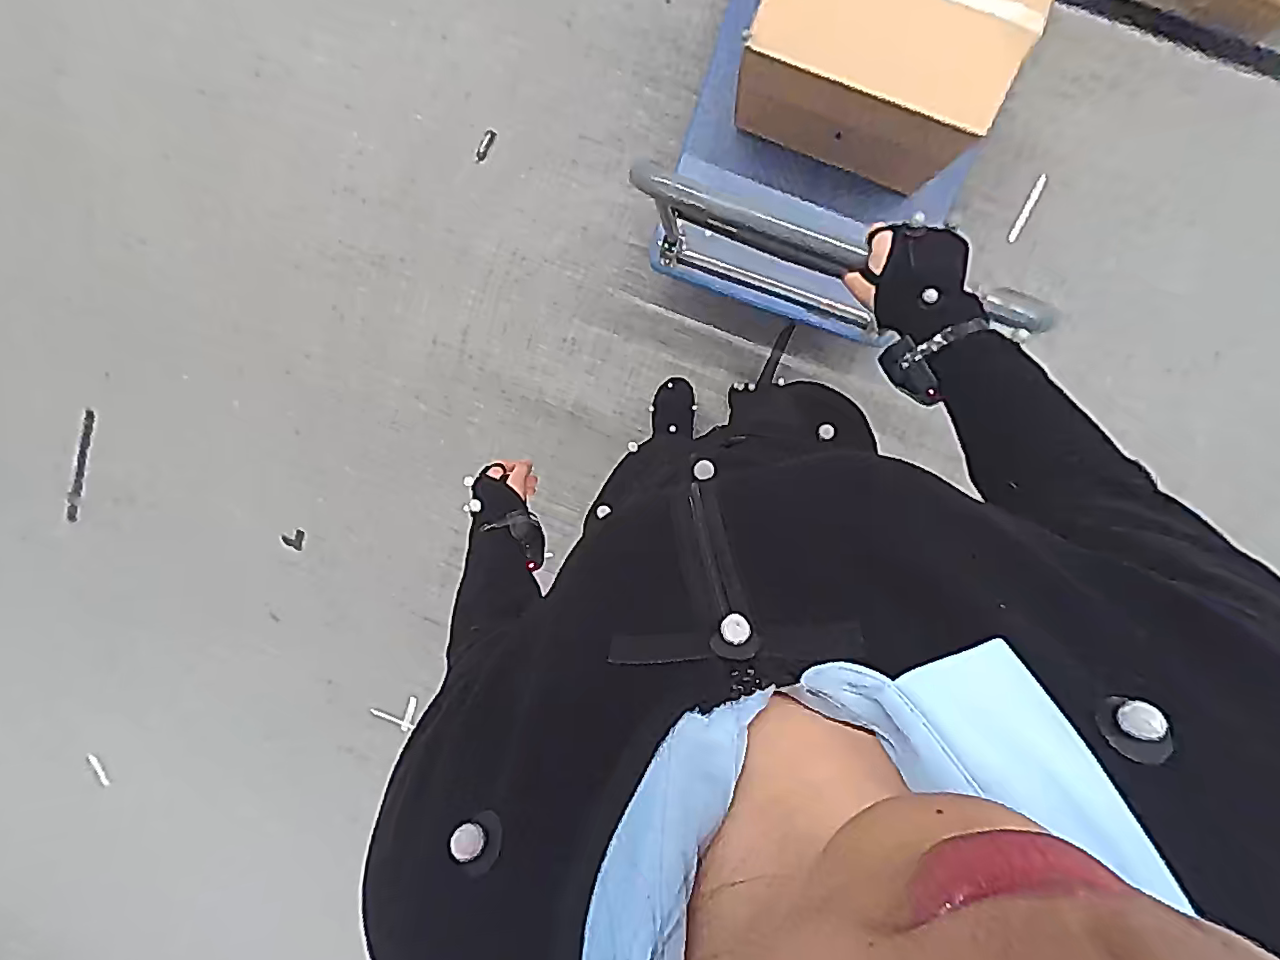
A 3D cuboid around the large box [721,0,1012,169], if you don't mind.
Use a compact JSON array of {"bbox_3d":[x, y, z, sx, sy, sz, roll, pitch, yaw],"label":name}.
[{"bbox_3d":[0.380,-0.799,0.942,0.408,0.320,0.320,18,103,4],"label":"large box"}]
